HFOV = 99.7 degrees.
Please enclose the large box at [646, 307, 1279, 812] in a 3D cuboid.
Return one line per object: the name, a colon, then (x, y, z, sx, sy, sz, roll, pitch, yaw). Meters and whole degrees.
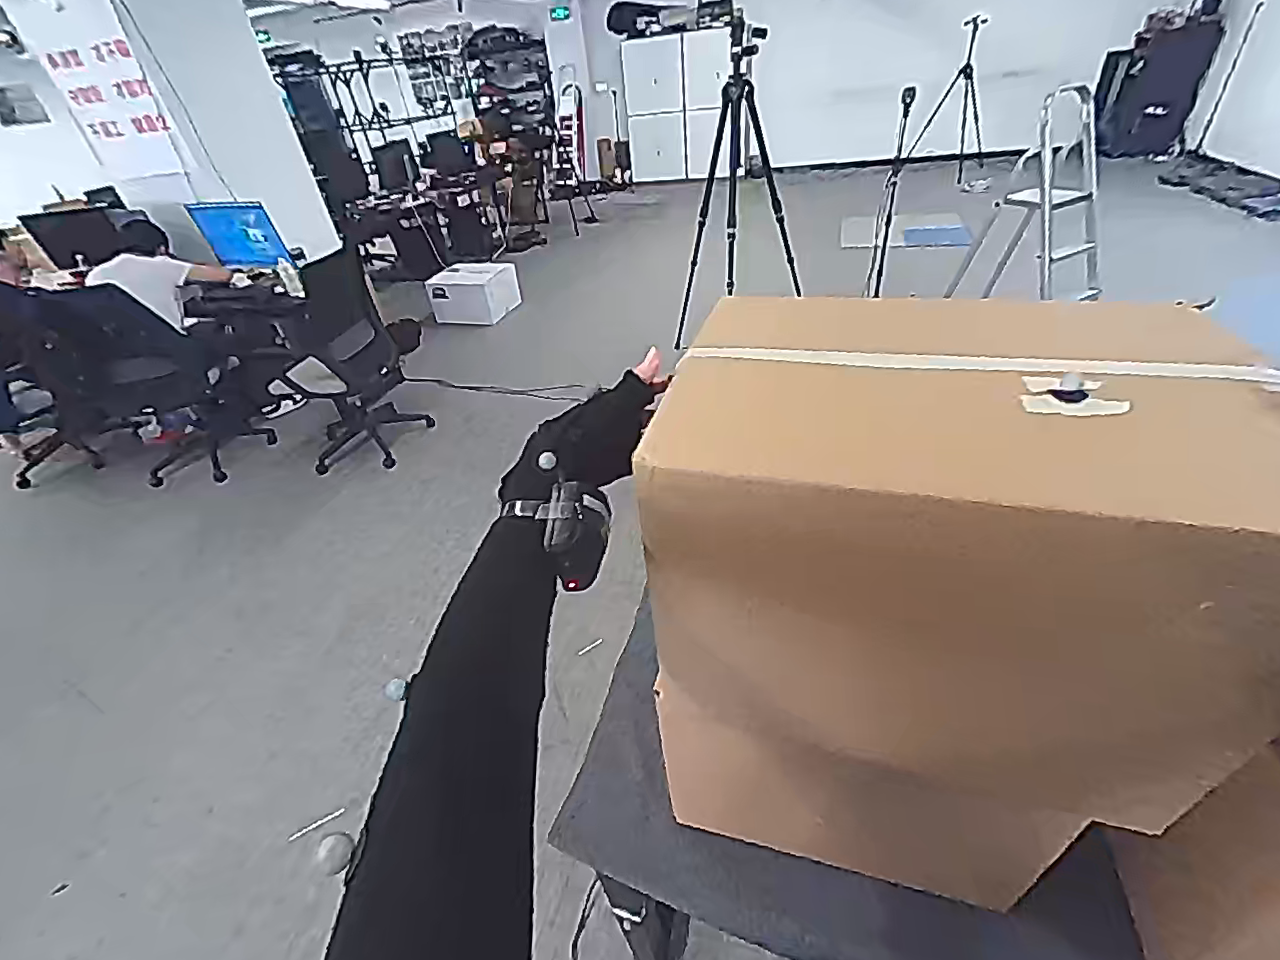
large box: (0.242, 0.044, 0.515, 0.408, 0.320, 0.320, 8, 40, 16)
